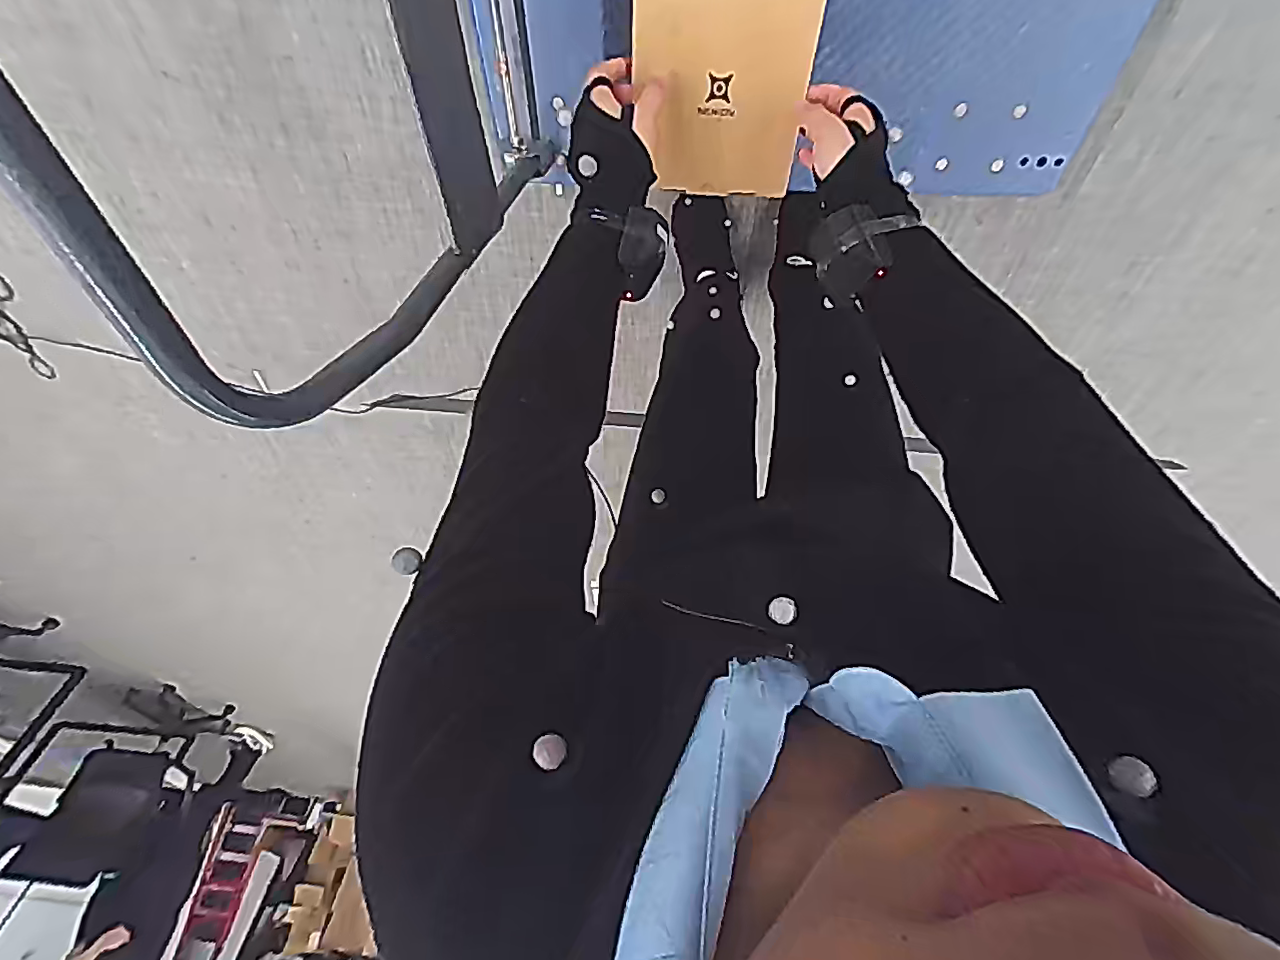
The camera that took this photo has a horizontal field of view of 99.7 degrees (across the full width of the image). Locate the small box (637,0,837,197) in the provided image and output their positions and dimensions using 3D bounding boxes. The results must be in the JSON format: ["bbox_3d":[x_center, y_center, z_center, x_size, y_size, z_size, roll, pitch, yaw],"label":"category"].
[{"bbox_3d":[0.086,-0.418,0.556,0.168,0.176,0.179,4,137,2],"label":"small box"}]
